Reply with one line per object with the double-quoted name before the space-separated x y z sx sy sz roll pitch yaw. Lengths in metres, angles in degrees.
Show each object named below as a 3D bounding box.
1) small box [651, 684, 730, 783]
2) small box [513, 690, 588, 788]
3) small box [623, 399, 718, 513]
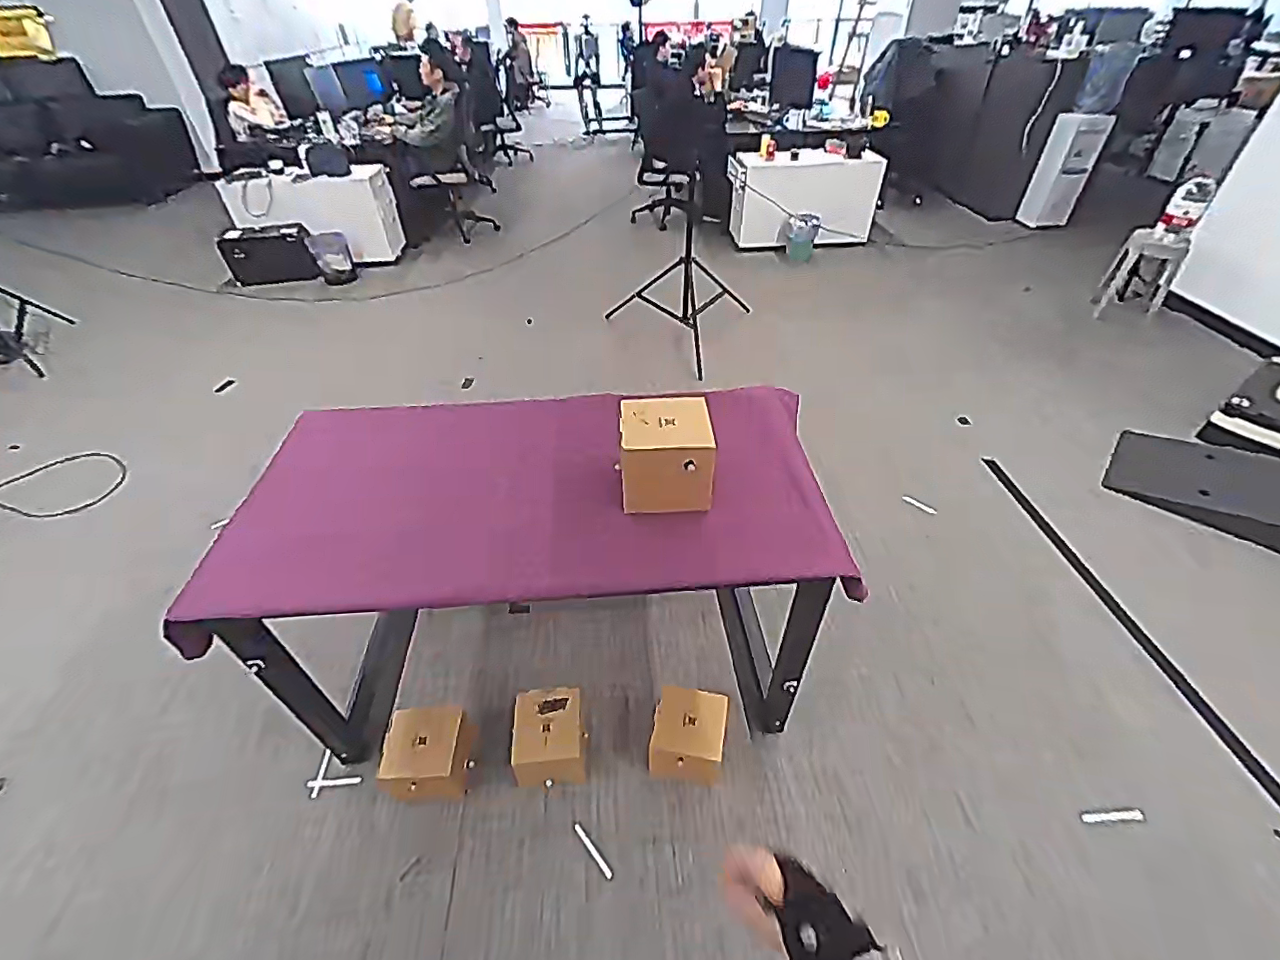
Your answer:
"small box" 0.132 0.661 1.401 0.179 0.176 0.168 7 43 11
"small box" -0.225 0.670 1.399 0.168 0.176 0.179 -4 43 -2
"small box" 0.056 -0.046 1.096 0.179 0.176 0.168 -3 41 0
